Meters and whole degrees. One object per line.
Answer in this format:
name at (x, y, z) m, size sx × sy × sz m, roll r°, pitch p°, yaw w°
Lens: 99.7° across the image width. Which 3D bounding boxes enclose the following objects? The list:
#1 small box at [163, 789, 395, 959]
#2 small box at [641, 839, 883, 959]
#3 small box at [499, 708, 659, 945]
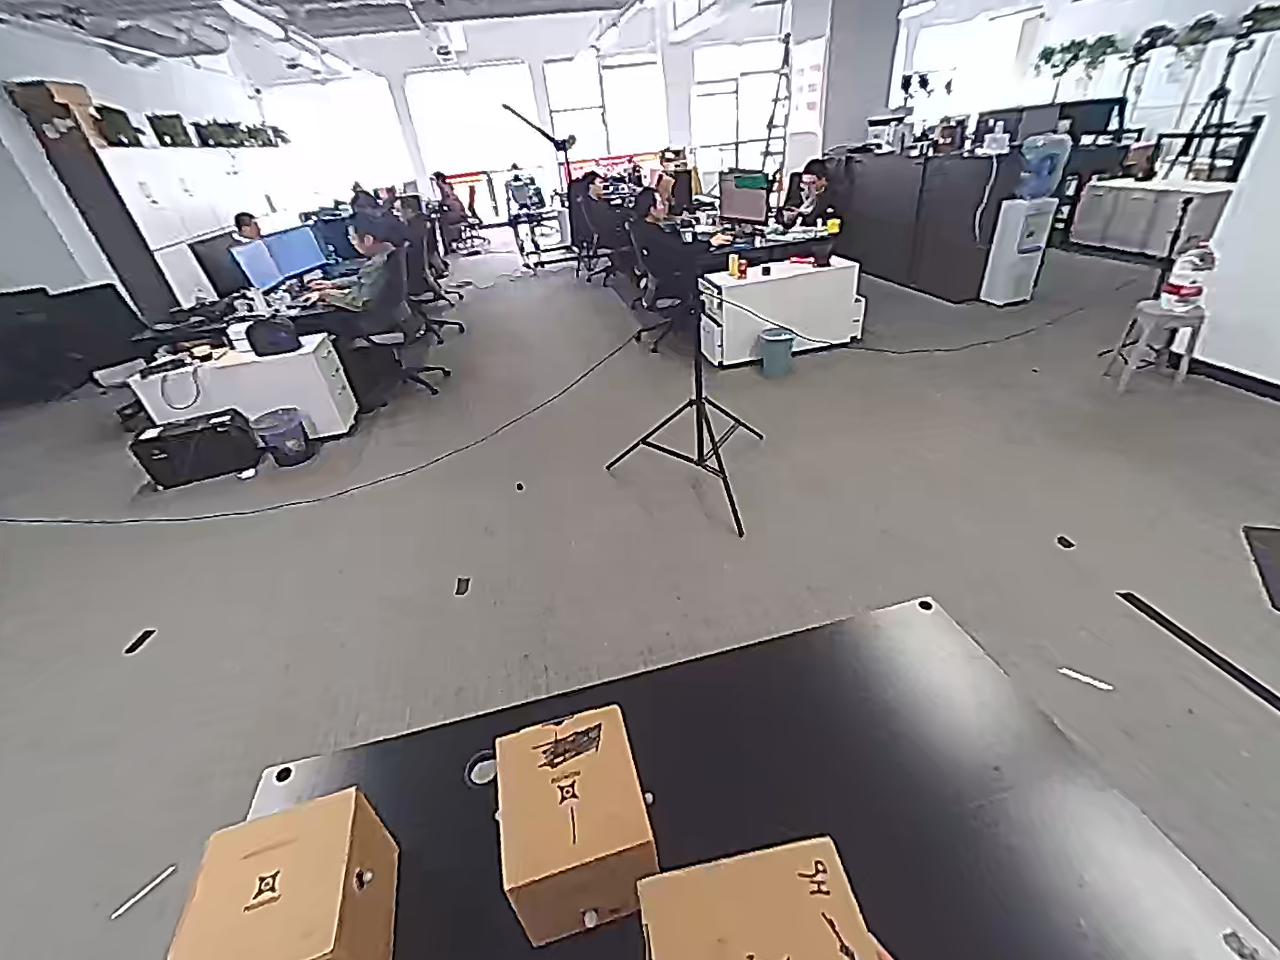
small box at (-0.395, 0.506, 0.619) m, size 0.168 × 0.176 × 0.179 m, roll -13°, pitch 33°, yaw -13°
small box at (0.103, 0.436, 0.451) m, size 0.179 × 0.176 × 0.168 m, roll -8°, pitch 39°, yaw -5°
small box at (-0.077, 0.430, 0.682) m, size 0.168 × 0.176 × 0.179 m, roll -13°, pitch 34°, yaw -9°
